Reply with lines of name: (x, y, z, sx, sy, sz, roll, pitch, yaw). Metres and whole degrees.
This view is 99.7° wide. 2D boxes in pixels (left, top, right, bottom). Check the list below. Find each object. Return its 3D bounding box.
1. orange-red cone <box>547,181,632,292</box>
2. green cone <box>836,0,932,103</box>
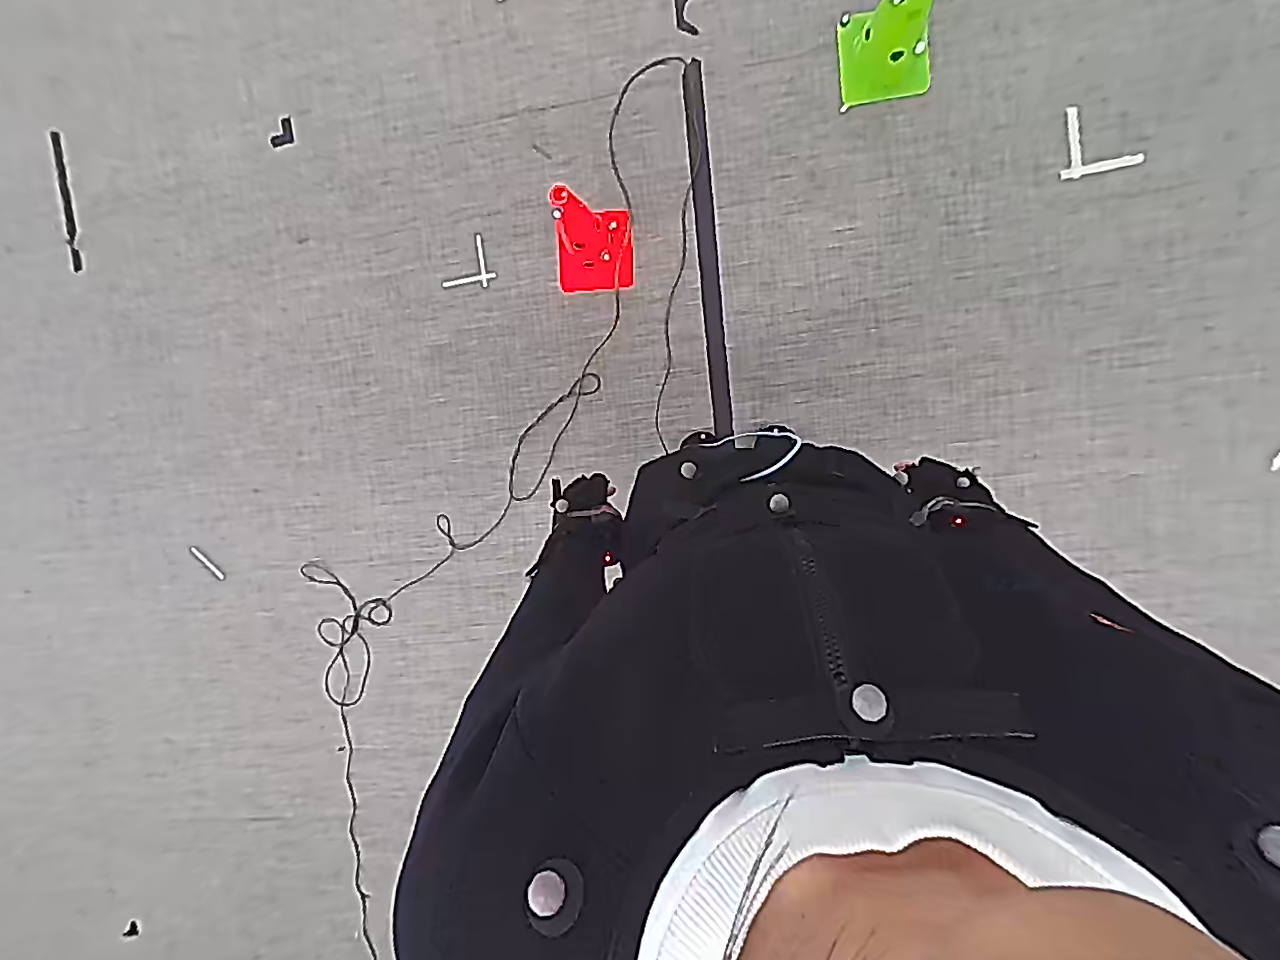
orange-red cone: (-0.143, -0.581, 1.235, 0.199, 0.360, 0.198, -1, 94, 9)
green cone: (0.550, -0.986, 1.102, 0.202, 0.368, 0.200, -6, 95, 7)
